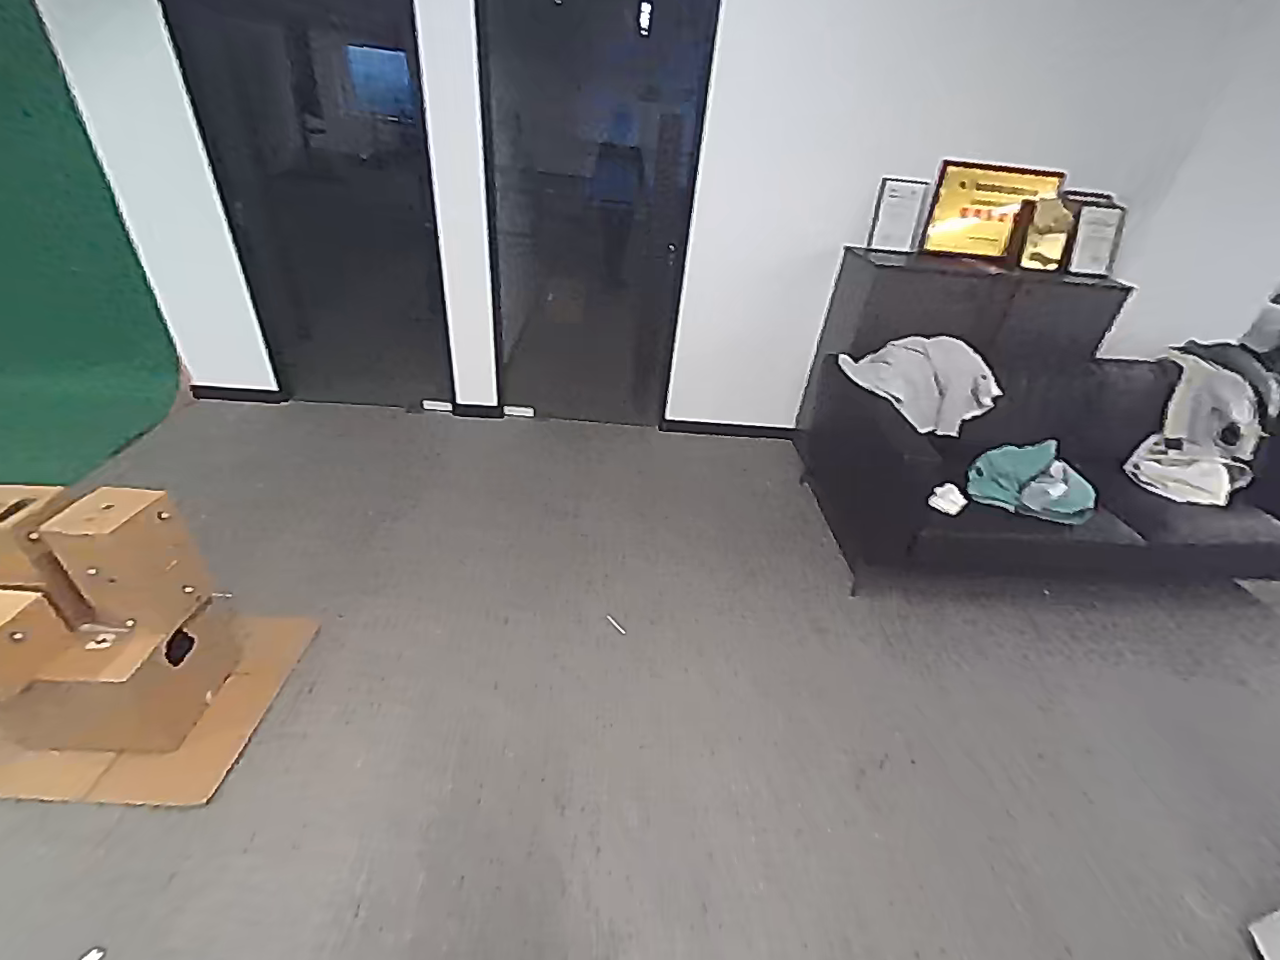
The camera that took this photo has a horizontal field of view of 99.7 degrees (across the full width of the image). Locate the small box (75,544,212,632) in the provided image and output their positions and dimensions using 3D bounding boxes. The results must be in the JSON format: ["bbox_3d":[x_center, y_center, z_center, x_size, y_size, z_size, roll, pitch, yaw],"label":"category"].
[{"bbox_3d":[-1.279,0.277,1.411,0.179,0.176,0.168,4,34,0],"label":"small box"}]

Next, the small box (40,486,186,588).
[{"bbox_3d":[-1.264,0.137,1.320,0.168,0.176,0.179,5,34,1],"label":"small box"}]
